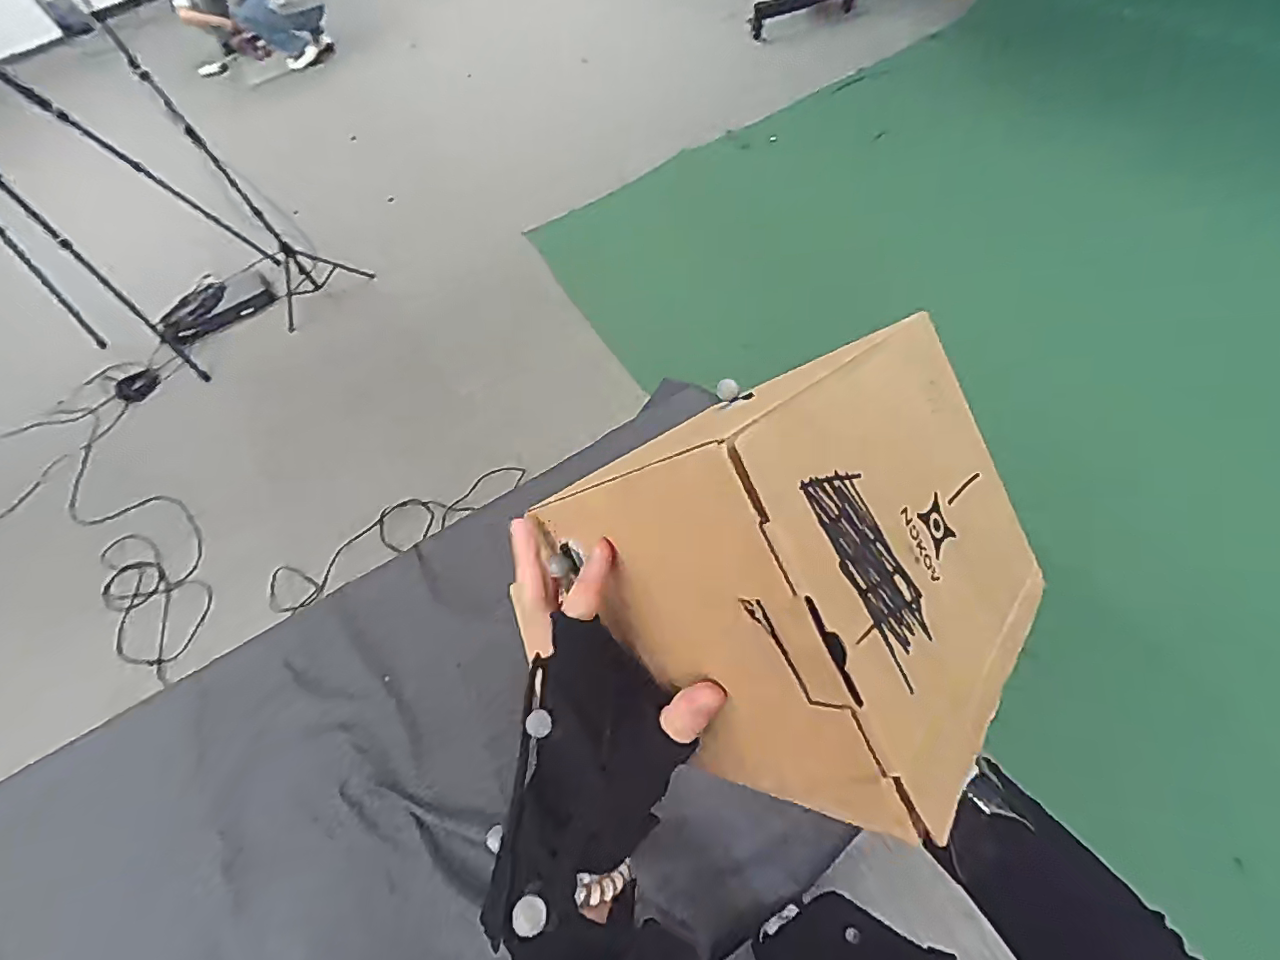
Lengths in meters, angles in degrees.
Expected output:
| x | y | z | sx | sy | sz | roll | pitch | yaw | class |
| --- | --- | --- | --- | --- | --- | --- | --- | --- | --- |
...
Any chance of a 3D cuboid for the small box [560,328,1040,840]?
| x | y | z | sx | sy | sz | roll | pitch | yaw | class |
| --- | --- | --- | --- | --- | --- | --- | --- | --- | --- |
| 0.077 | 0.044 | 0.304 | 0.179 | 0.176 | 0.168 | -31 | 97 | -36 | small box |
